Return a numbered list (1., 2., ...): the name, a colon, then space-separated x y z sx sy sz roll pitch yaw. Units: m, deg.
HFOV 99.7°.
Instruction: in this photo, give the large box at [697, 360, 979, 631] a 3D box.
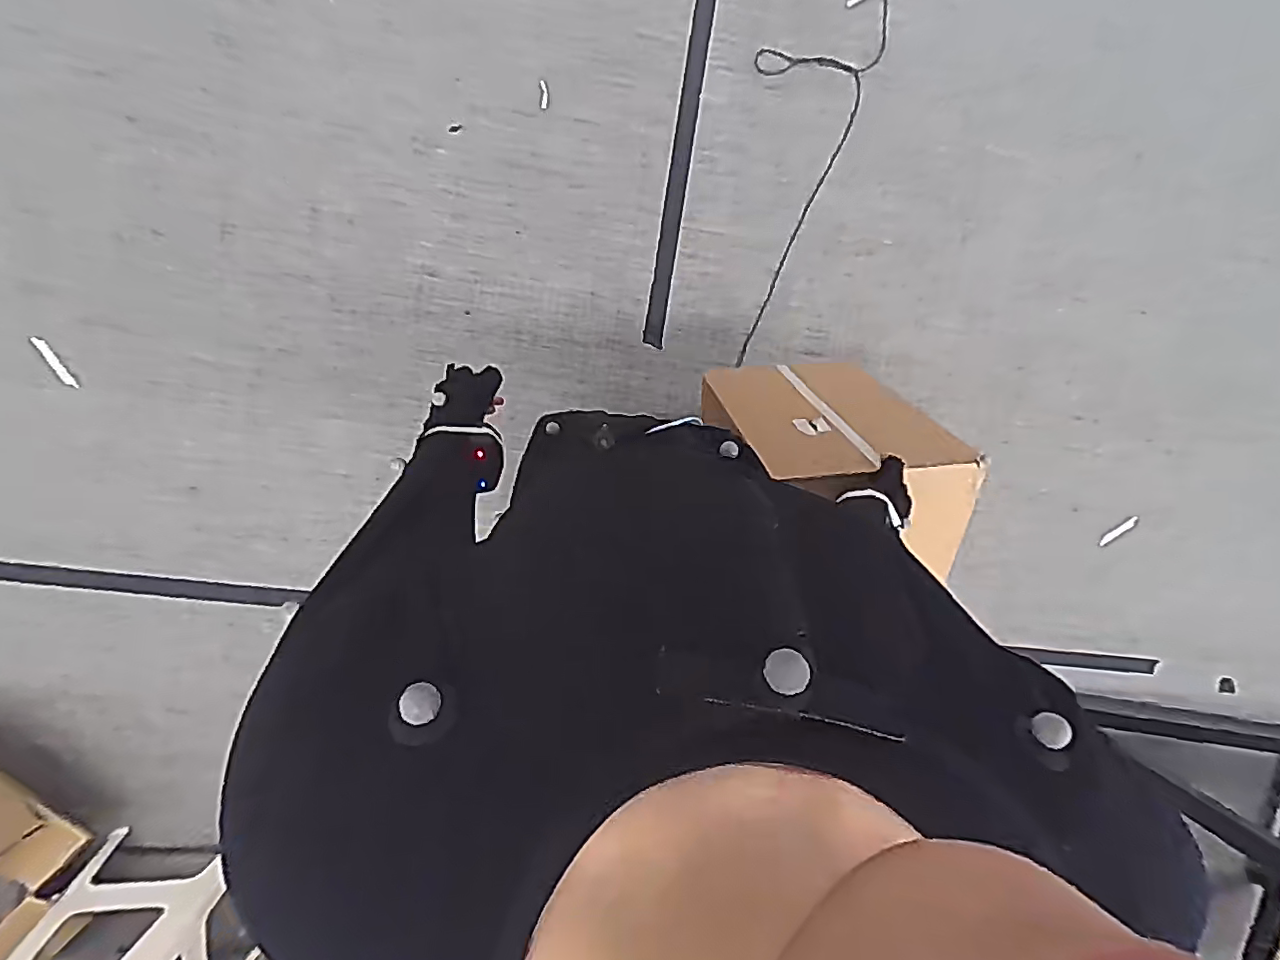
1. large box: 0.302 0.006 0.989 0.320 0.408 0.320 -7 124 -5
